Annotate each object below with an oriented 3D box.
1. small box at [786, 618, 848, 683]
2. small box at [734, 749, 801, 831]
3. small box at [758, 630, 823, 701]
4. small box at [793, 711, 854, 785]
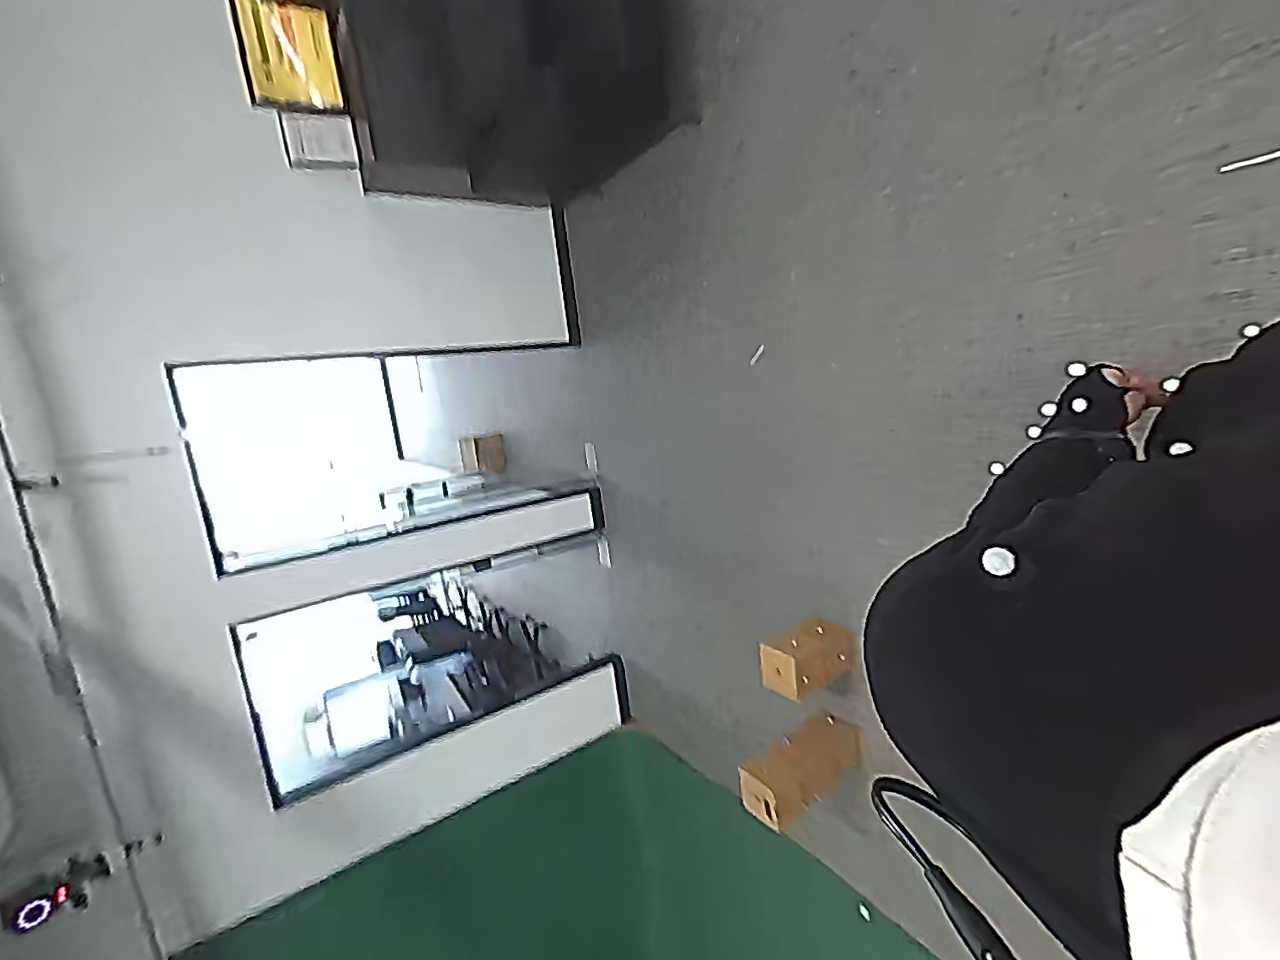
[{"bbox_3d":[0.693,0.657,2.110,0.179,0.176,0.168,10,108,55],"label":"small box"},{"bbox_3d":[0.473,1.126,1.983,0.179,0.176,0.168,5,104,57],"label":"small box"},{"bbox_3d":[0.562,0.682,2.017,0.168,0.176,0.179,8,107,56],"label":"small box"},{"bbox_3d":[0.738,1.068,2.169,0.168,0.176,0.179,7,106,56],"label":"small box"}]
